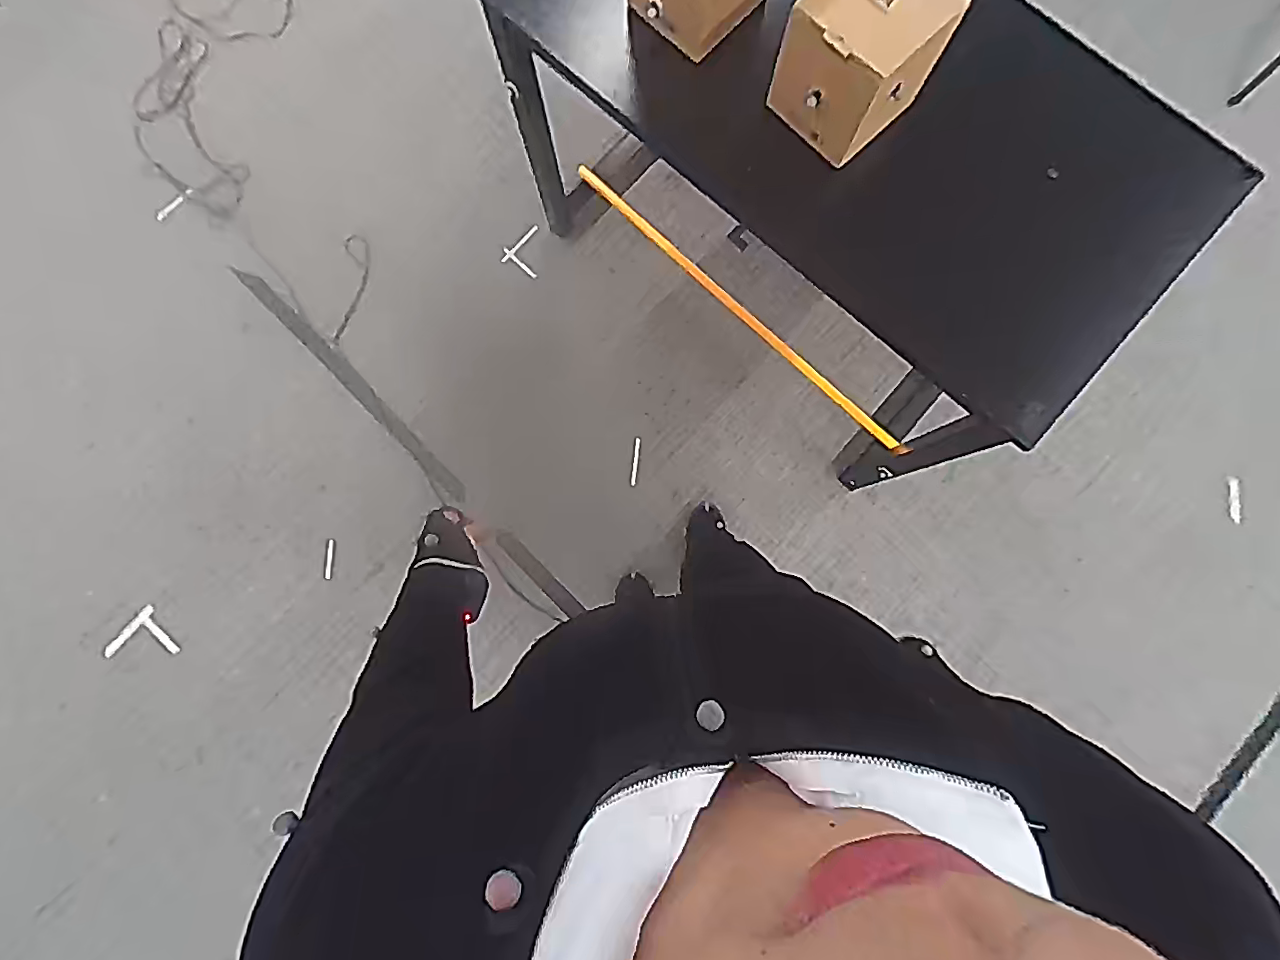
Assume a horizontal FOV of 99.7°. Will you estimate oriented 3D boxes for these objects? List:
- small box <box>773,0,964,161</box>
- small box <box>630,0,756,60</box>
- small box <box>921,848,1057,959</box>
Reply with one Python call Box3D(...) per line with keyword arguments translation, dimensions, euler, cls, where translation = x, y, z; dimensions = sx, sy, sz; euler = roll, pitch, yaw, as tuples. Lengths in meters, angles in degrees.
Box3D(translation=(0.317, -0.624, 0.798), dimensions=(0.179, 0.176, 0.168), euler=(-44, 85, -4), cls="small box")
Box3D(translation=(0.090, -0.812, 0.826), dimensions=(0.168, 0.176, 0.179), euler=(42, 86, 6), cls="small box")
Box3D(translation=(0.831, 1.047, 1.306), dimensions=(0.179, 0.176, 0.168), euler=(44, 85, 6), cls="small box")
